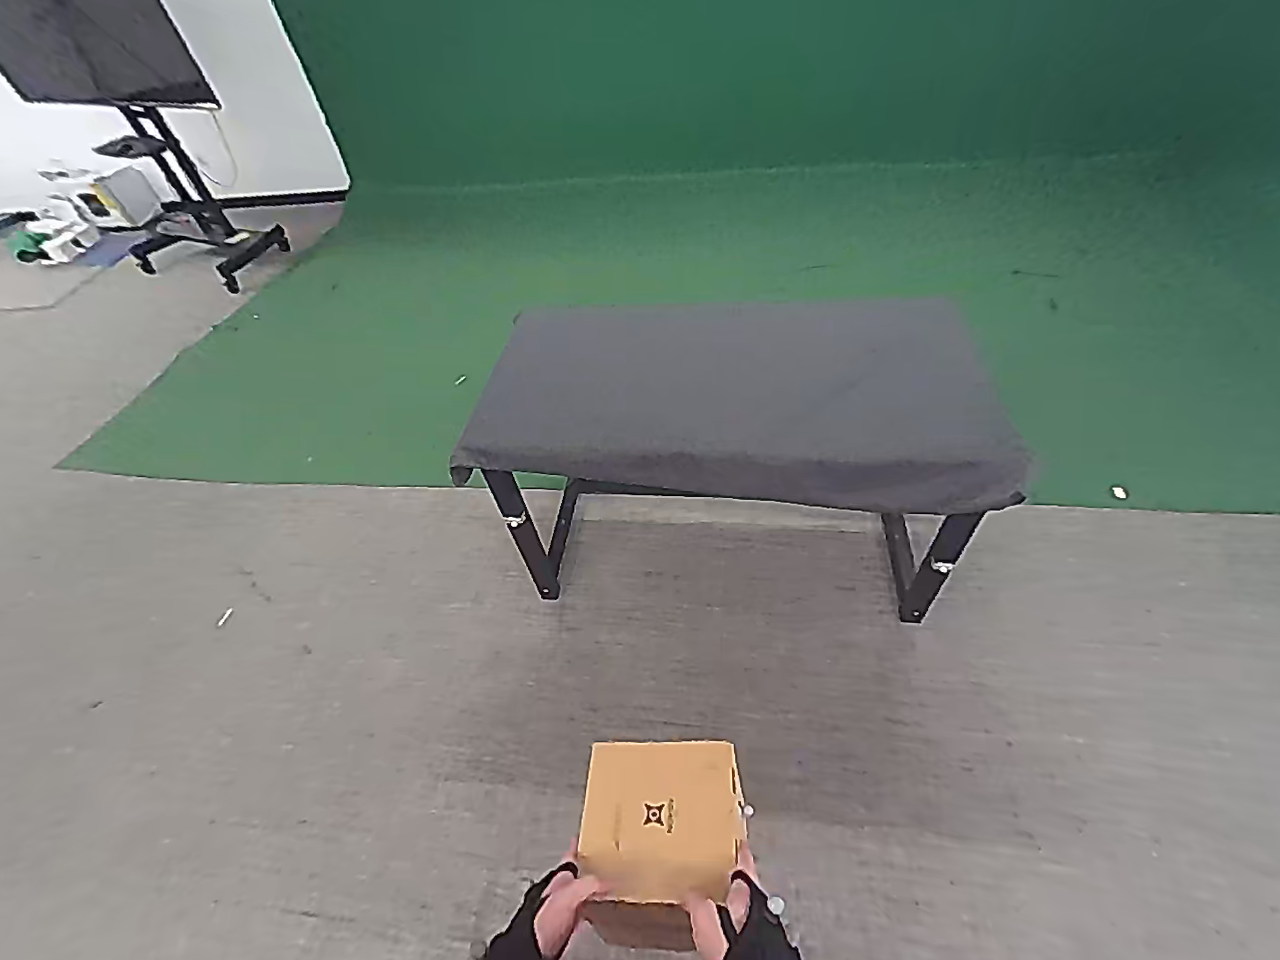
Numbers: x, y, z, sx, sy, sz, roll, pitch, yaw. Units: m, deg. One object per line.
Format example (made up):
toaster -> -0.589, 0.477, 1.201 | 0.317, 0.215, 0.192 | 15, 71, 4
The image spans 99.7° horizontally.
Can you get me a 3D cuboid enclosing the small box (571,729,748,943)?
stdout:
small box -> 0.036, 0.420, 0.644 | 0.179, 0.176, 0.168 | -5, 35, 11
